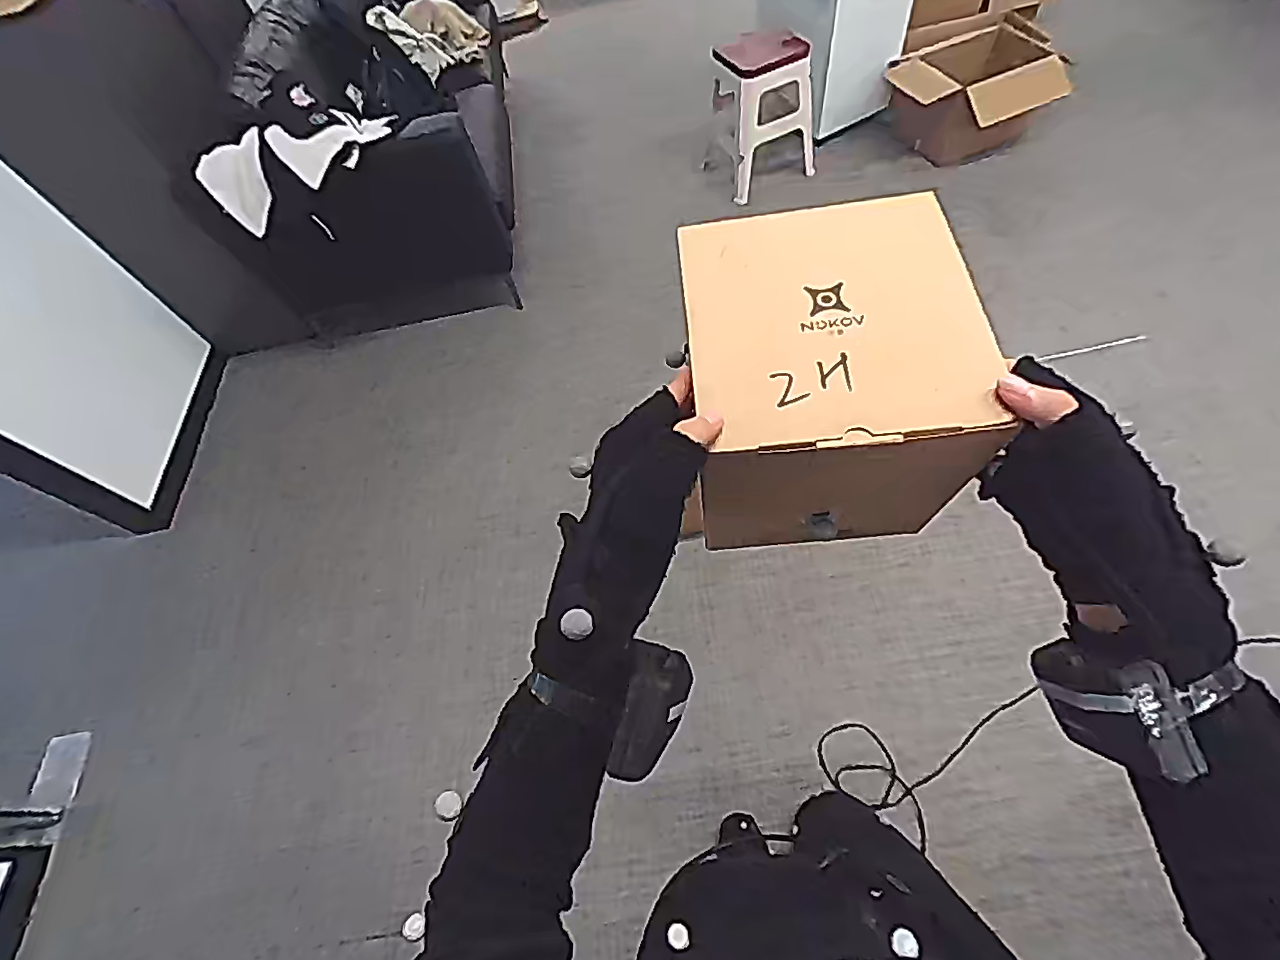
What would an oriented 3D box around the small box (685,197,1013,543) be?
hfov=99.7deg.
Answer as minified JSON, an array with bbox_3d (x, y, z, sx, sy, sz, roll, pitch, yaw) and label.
[{"bbox_3d":[0.122,-0.067,0.396,0.168,0.176,0.179,-5,64,6],"label":"small box"}]
